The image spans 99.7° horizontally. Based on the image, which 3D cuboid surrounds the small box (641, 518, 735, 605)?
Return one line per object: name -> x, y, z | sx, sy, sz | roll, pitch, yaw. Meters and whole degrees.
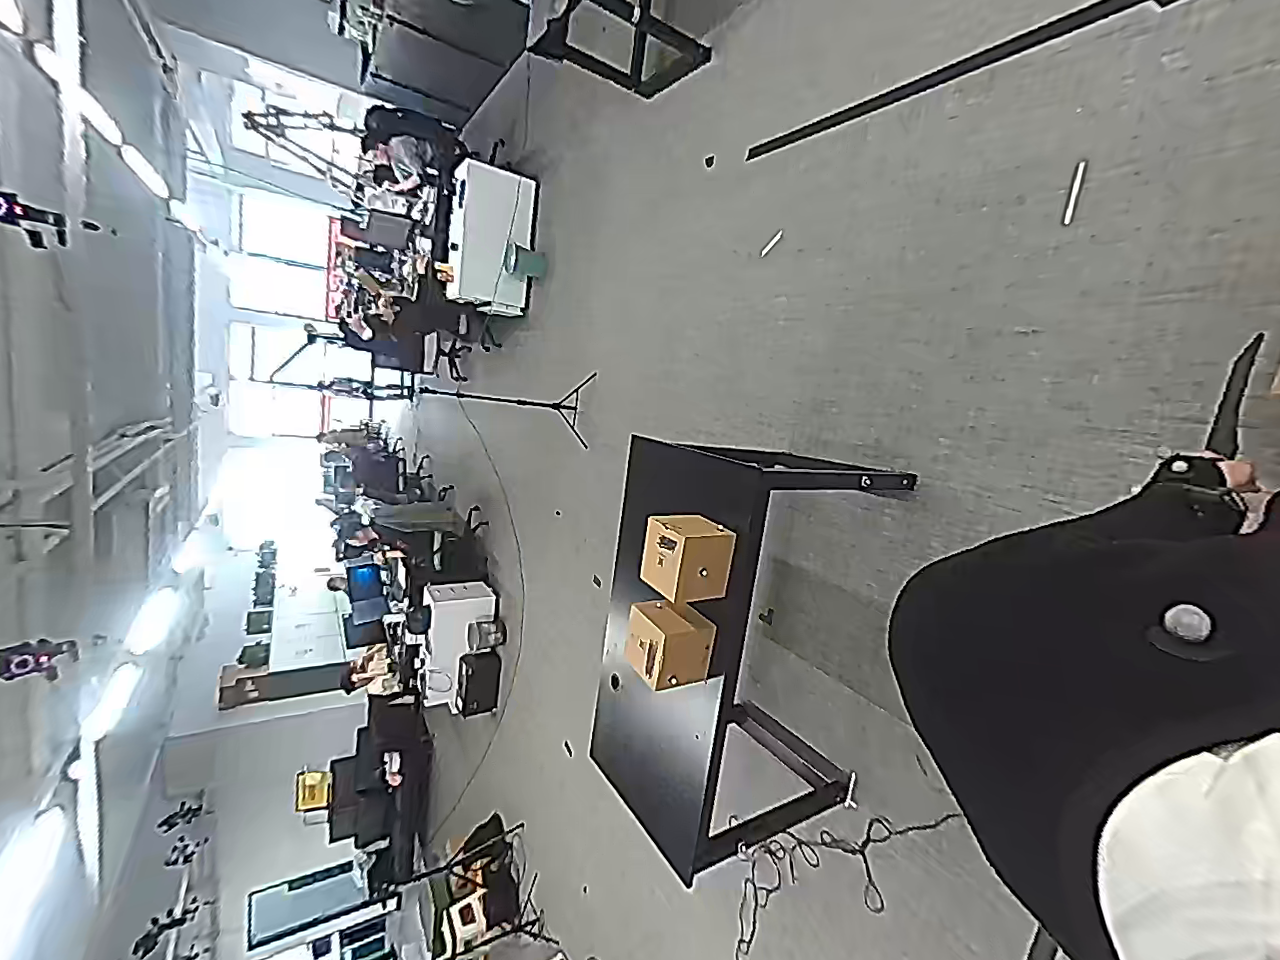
small box -> 0.126, 0.203, 1.409 | 0.168, 0.176, 0.179 | 26, 112, 56
